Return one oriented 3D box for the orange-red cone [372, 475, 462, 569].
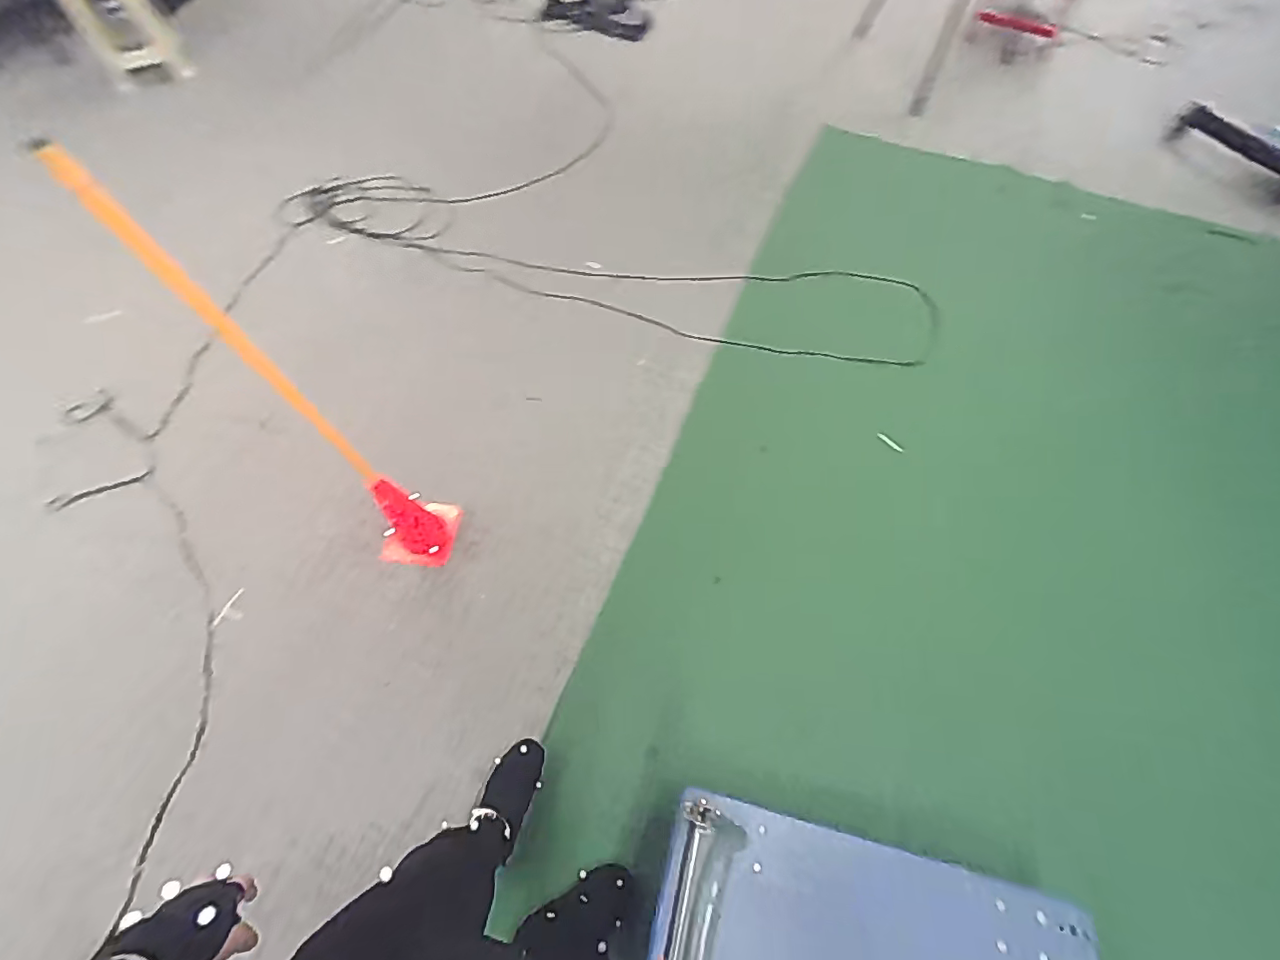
[{"bbox_3d":[-0.661,0.086,1.510,0.198,0.360,0.199,8,61,3],"label":"orange-red cone"}]
